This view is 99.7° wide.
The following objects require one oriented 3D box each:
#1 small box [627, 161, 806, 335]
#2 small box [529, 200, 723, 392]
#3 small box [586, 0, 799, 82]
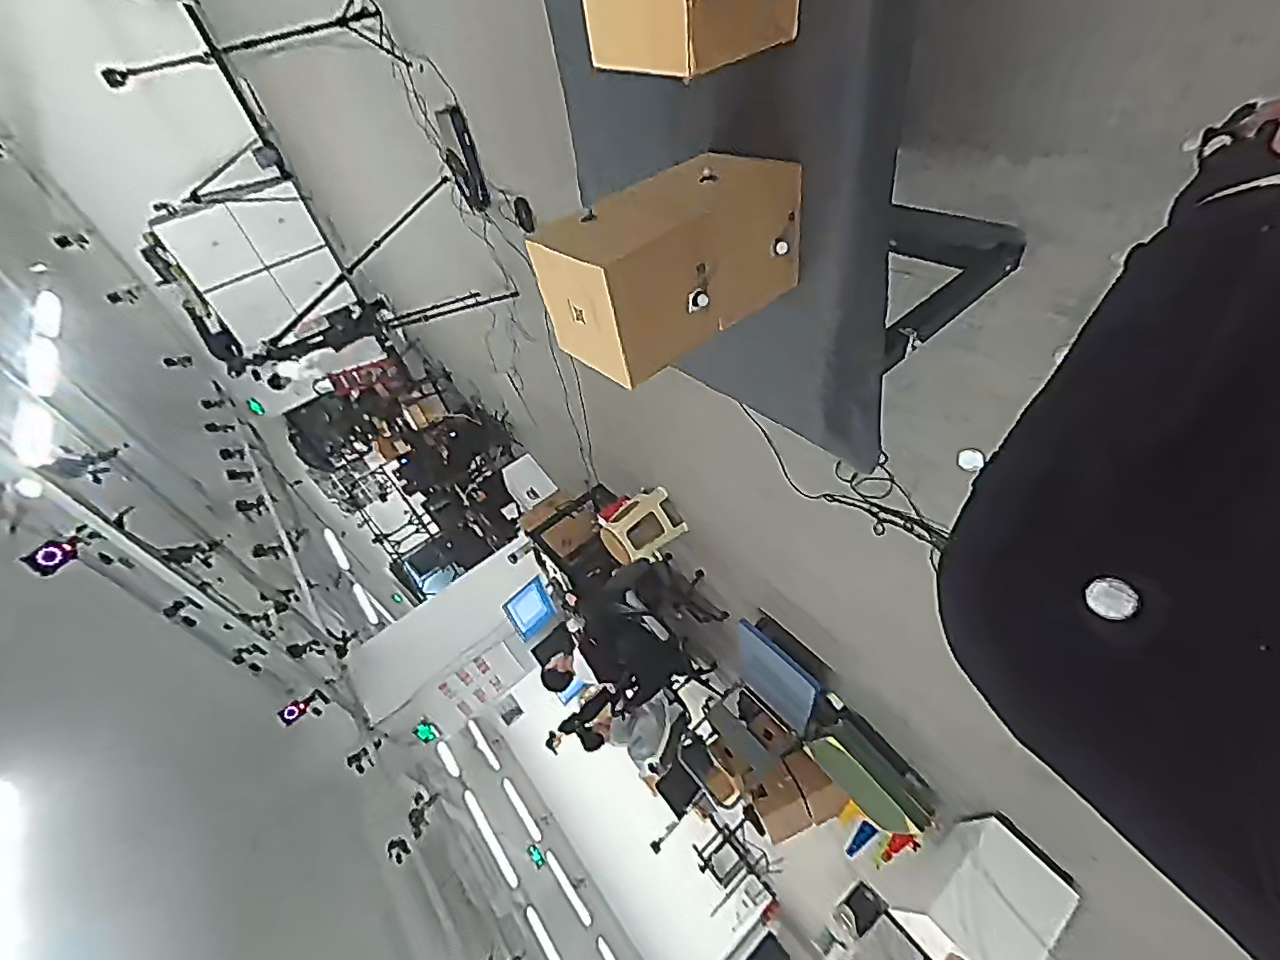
[{"bbox_3d":[0.110,-0.338,0.773,0.179,0.176,0.168,36,152,39],"label":"small box"},{"bbox_3d":[-0.013,-0.250,0.714,0.179,0.176,0.168,35,153,39],"label":"small box"},{"bbox_3d":[0.053,-0.552,0.580,0.179,0.176,0.168,38,153,36],"label":"small box"}]
